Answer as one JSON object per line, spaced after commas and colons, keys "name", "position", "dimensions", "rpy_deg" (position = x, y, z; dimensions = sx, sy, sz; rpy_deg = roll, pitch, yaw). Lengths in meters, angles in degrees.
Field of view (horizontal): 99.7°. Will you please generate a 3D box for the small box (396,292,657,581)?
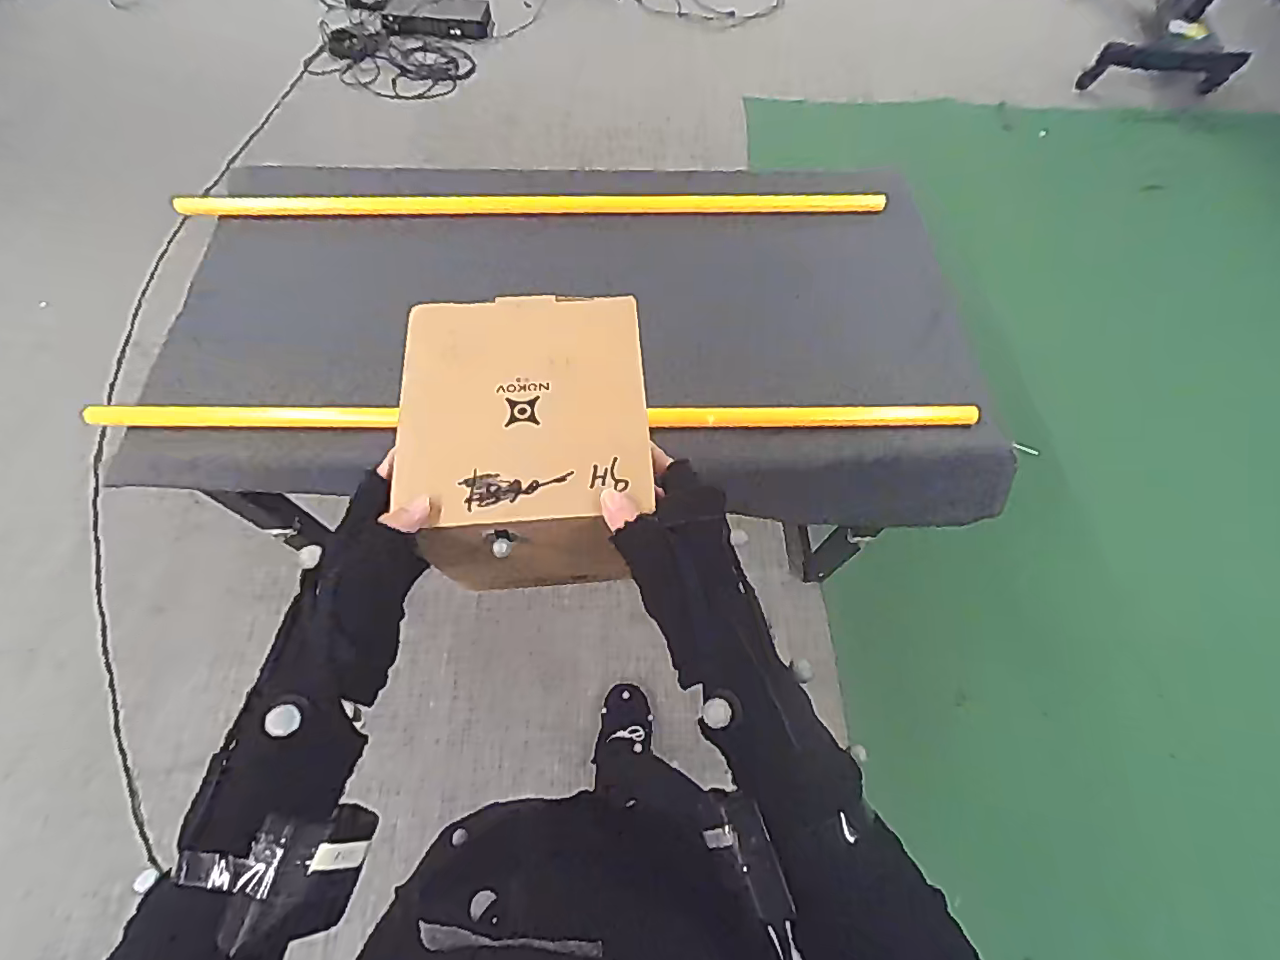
{"name": "small box", "position": [-0.077, -0.027, 0.446], "dimensions": [0.168, 0.176, 0.179], "rpy_deg": [-4, 65, -2]}
